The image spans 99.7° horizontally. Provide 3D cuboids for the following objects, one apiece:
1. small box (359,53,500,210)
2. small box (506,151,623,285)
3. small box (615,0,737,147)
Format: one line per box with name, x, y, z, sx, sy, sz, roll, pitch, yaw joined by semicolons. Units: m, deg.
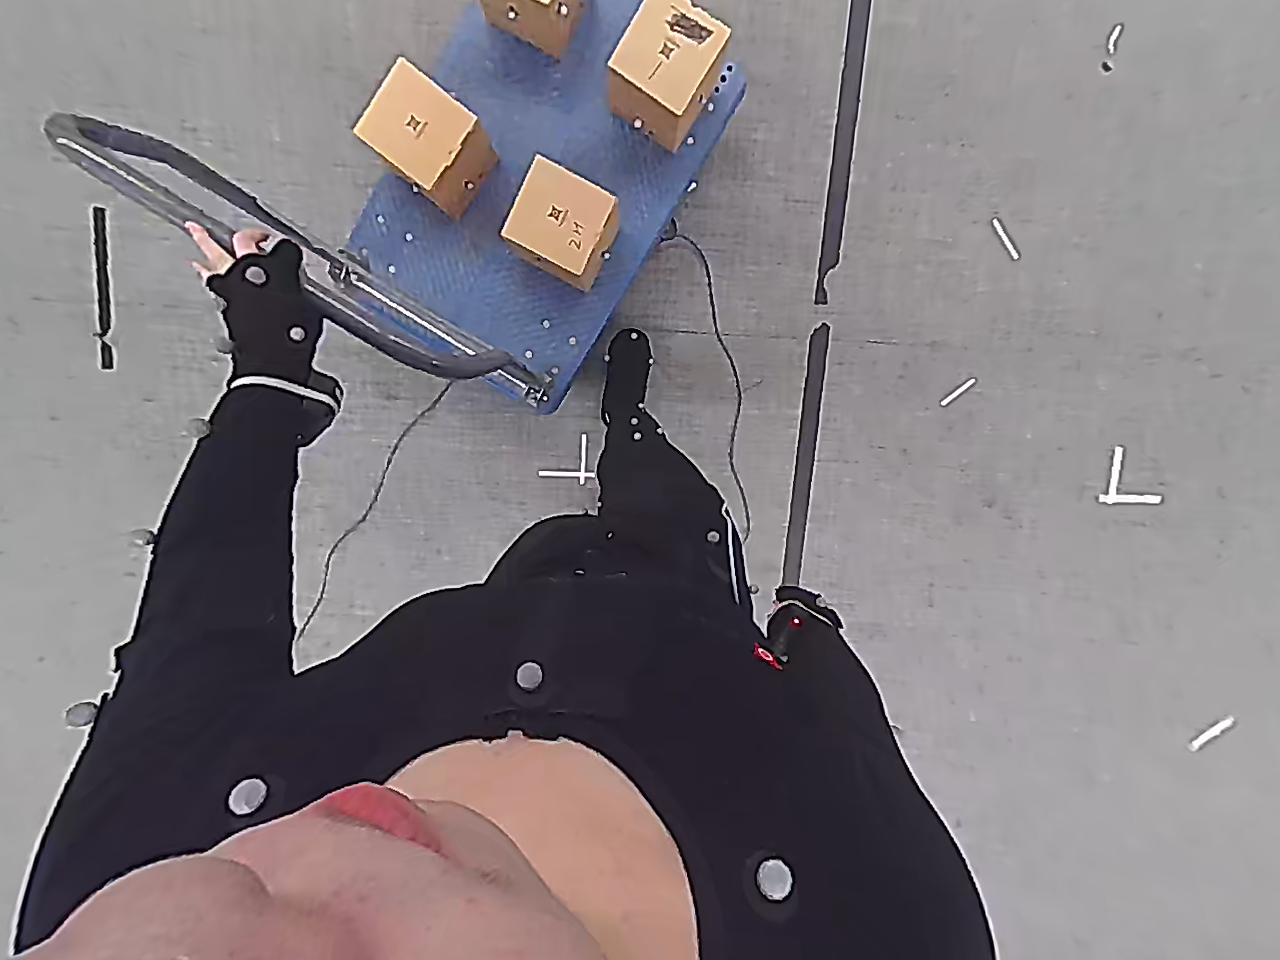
small box;-0.411;-0.682;1.086;0.179;0.176;0.168;36;97;-8
small box;-0.147;-0.525;1.113;0.179;0.176;0.168;27;98;-5
small box;0.063;-0.813;1.068;0.168;0.176;0.179;33;99;-6
